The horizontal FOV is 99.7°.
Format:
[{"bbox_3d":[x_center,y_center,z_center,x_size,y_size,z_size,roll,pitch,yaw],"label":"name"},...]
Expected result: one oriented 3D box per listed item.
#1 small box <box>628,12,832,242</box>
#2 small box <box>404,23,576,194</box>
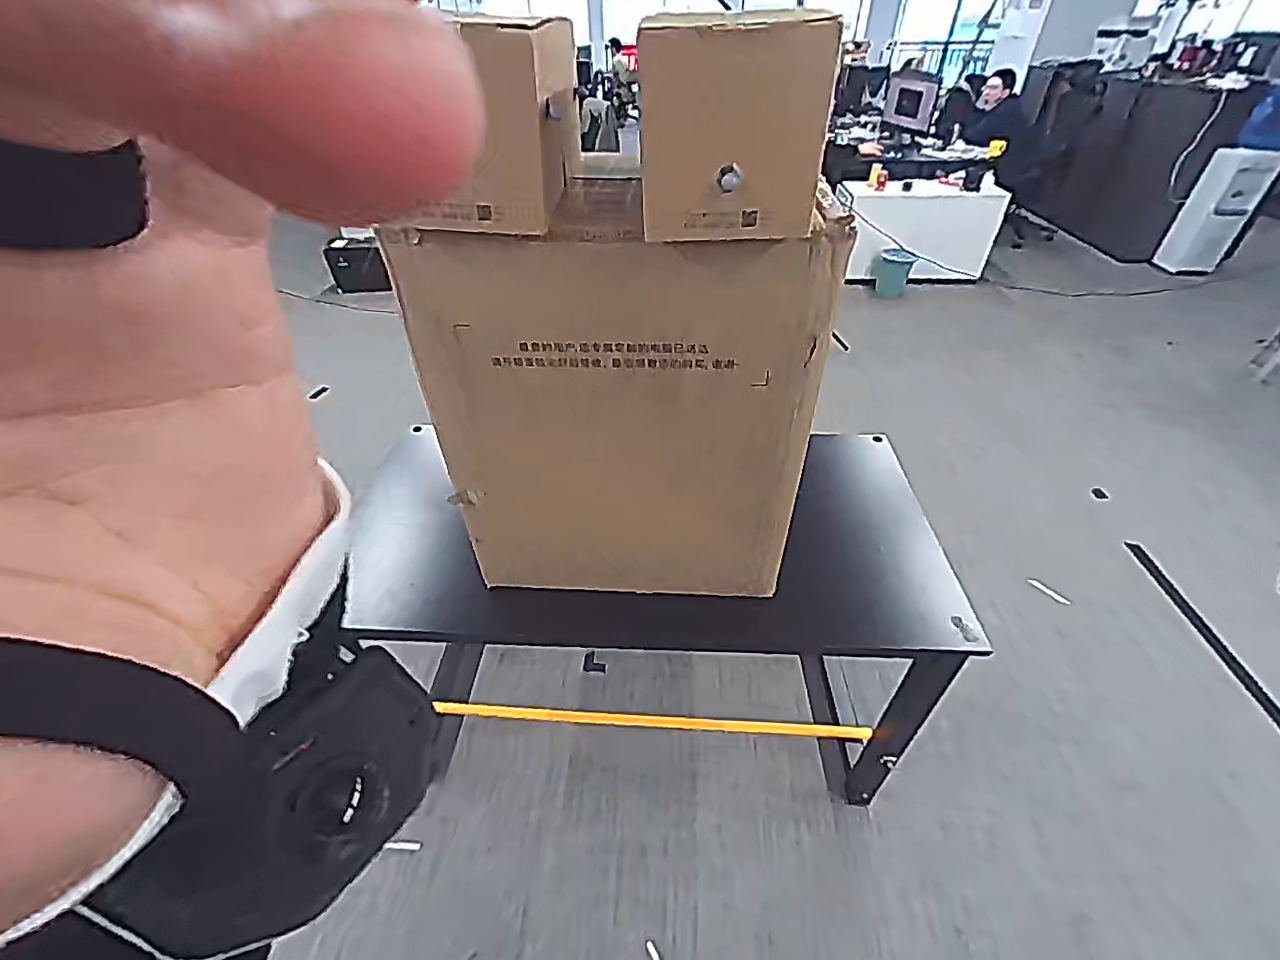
[{"bbox_3d":[0.078,-0.355,0.546,0.168,0.176,0.179,-1,43,4],"label":"small box"},{"bbox_3d":[-0.179,-0.489,0.712,0.168,0.176,0.179,0,40,2],"label":"small box"}]
